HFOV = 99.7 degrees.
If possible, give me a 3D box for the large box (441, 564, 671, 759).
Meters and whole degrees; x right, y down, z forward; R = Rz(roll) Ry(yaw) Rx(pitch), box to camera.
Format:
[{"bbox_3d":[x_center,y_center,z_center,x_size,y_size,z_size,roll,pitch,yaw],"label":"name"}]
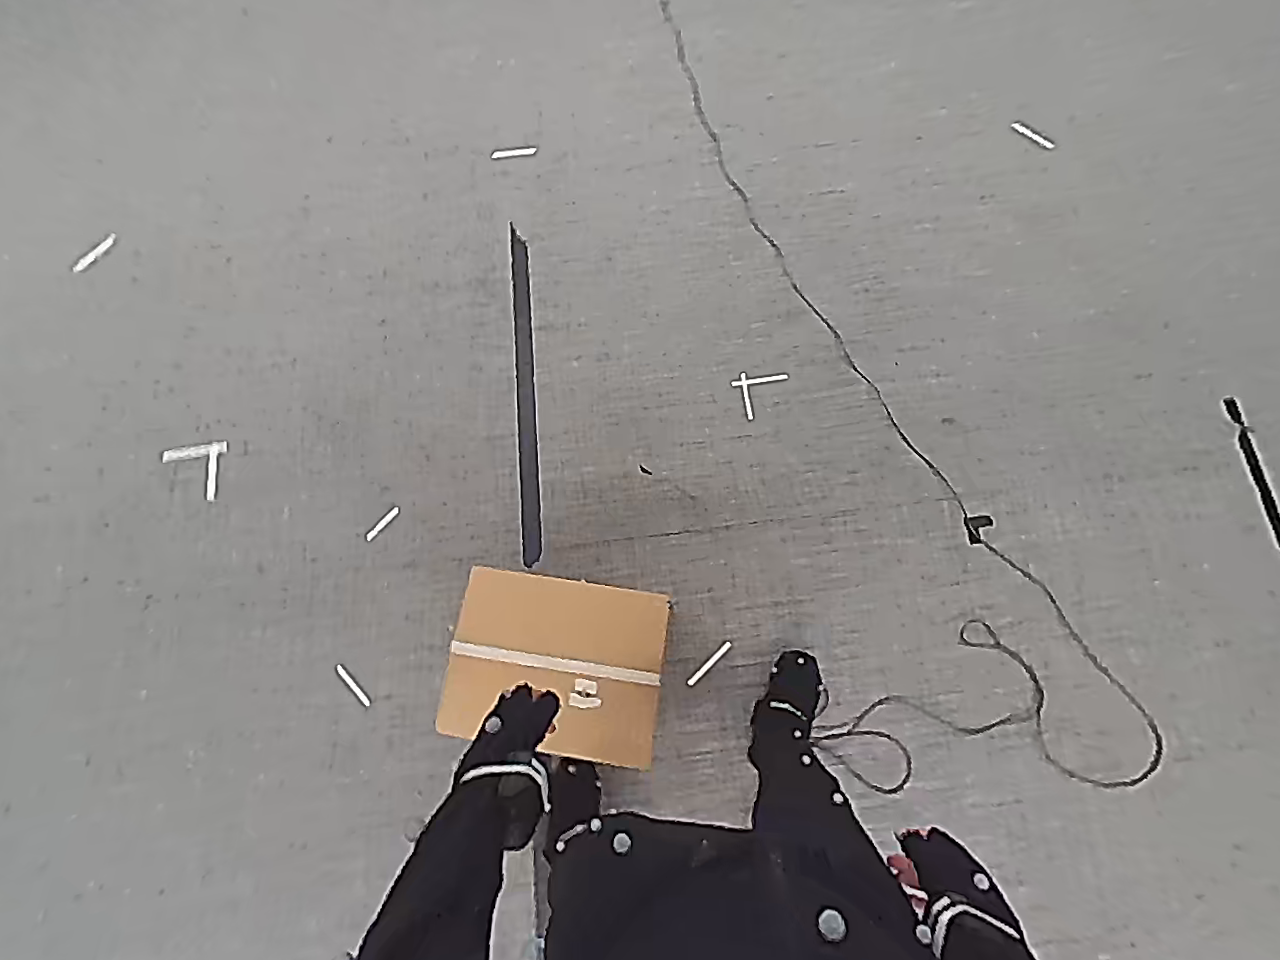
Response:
[{"bbox_3d":[-0.154,0.380,1.178,0.408,0.320,0.320,8,75,3],"label":"large box"}]
